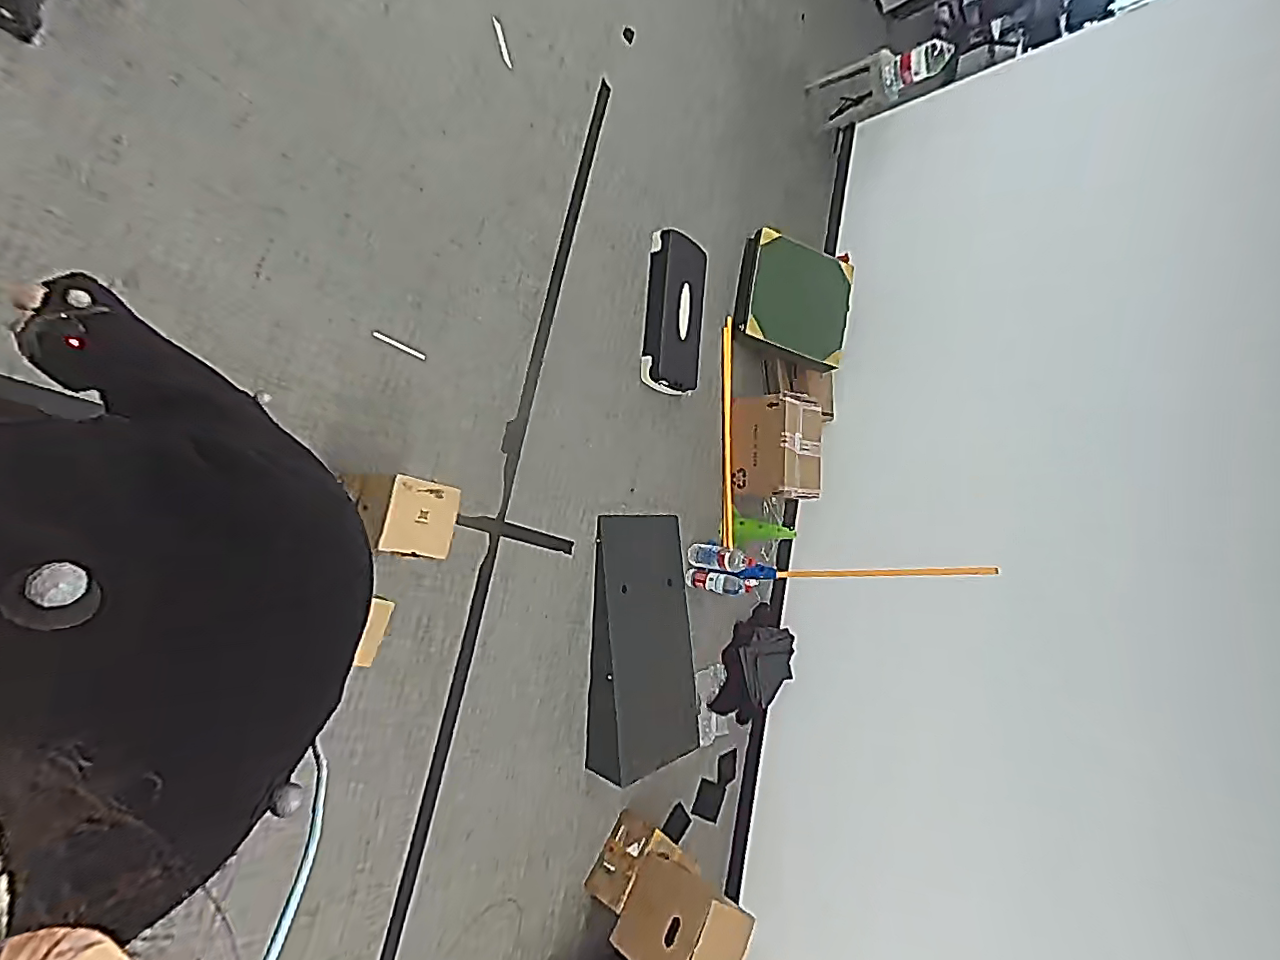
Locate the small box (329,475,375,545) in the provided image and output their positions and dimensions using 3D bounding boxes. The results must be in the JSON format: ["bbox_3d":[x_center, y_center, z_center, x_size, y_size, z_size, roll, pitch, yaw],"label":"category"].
[{"bbox_3d":[-0.675,0.091,1.407,0.179,0.176,0.168,27,72,-45],"label":"small box"}]

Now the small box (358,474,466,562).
[{"bbox_3d":[-0.551,0.091,1.299,0.168,0.176,0.179,20,77,-46],"label":"small box"}]

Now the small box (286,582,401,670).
[{"bbox_3d":[-0.741,0.359,1.346,0.179,0.176,0.168,31,70,-44],"label":"small box"}]
